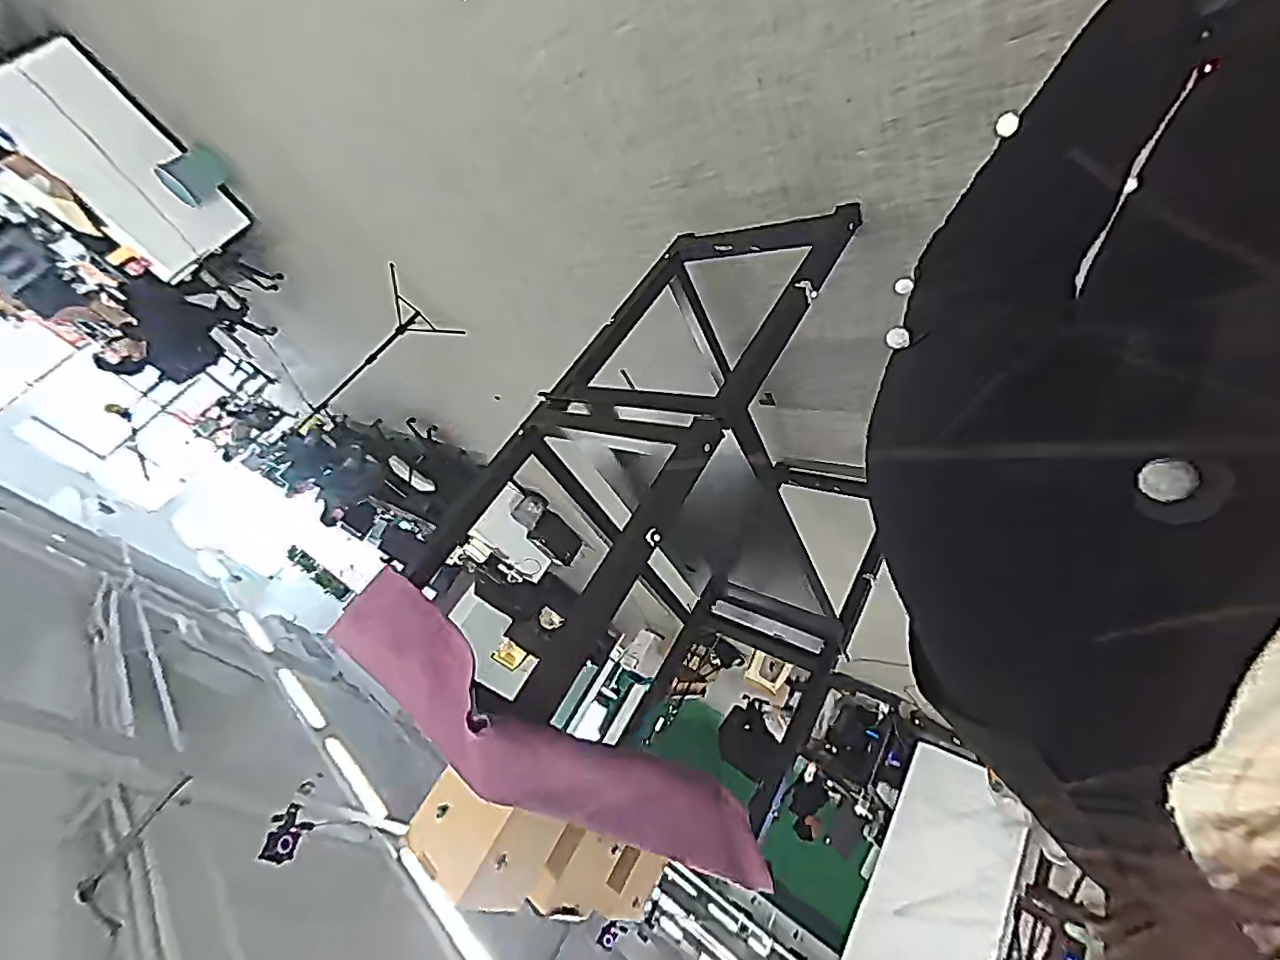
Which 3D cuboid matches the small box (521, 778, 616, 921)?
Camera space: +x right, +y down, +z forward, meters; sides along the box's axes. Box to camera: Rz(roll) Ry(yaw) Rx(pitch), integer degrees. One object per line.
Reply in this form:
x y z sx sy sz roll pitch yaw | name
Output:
-0.171 0.746 1.099 0.179 0.176 0.168 15 151 41 | small box

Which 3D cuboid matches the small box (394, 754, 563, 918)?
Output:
-0.266 0.598 0.920 0.168 0.176 0.179 18 154 38 | small box

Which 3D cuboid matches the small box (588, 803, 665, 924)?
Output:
-0.065 0.901 1.276 0.168 0.176 0.179 15 152 38 | small box
